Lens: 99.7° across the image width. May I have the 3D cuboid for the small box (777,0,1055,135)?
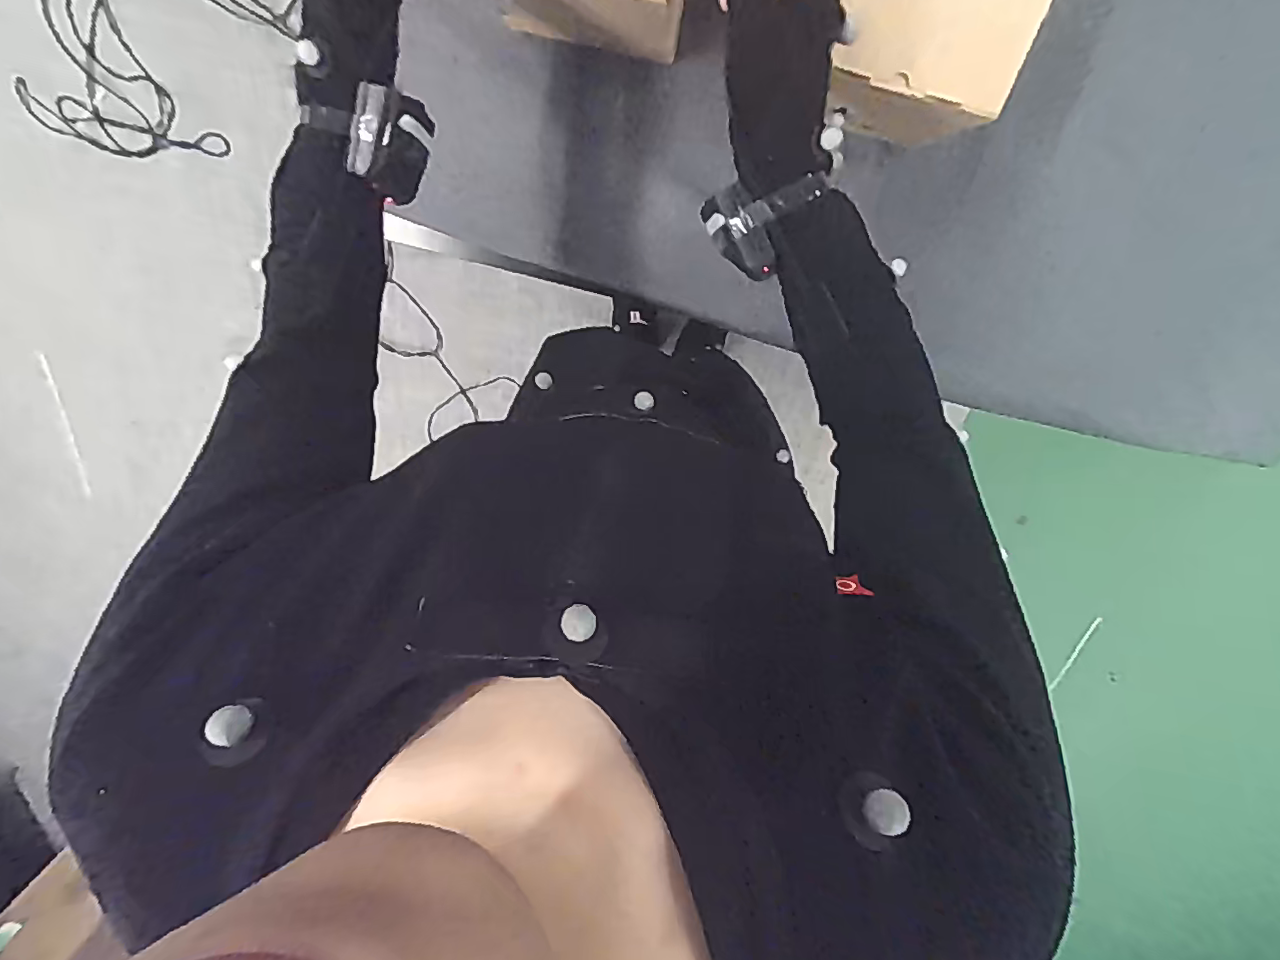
[{"bbox_3d":[0.223,-0.409,0.441,0.168,0.176,0.179,14,117,-2],"label":"small box"}]
